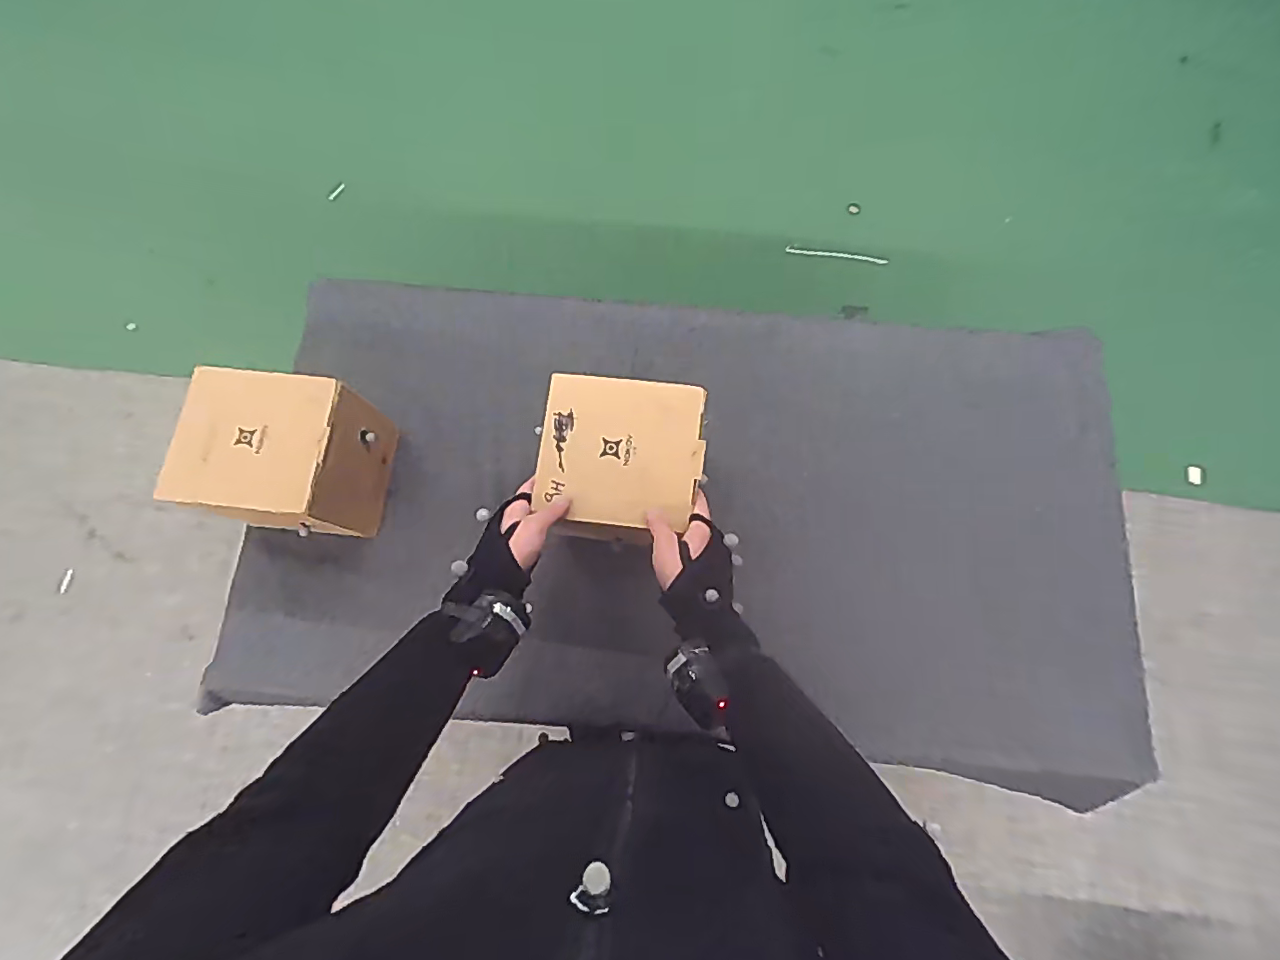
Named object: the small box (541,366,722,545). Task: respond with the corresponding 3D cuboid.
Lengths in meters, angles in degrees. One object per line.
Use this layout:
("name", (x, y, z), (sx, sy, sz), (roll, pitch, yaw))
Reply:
("small box", (-0.008, -0.018, 0.651), (0.179, 0.176, 0.168), (7, 76, 1))

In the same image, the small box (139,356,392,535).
("small box", (-0.432, -0.031, 0.662), (0.179, 0.176, 0.168), (5, 73, 0))
